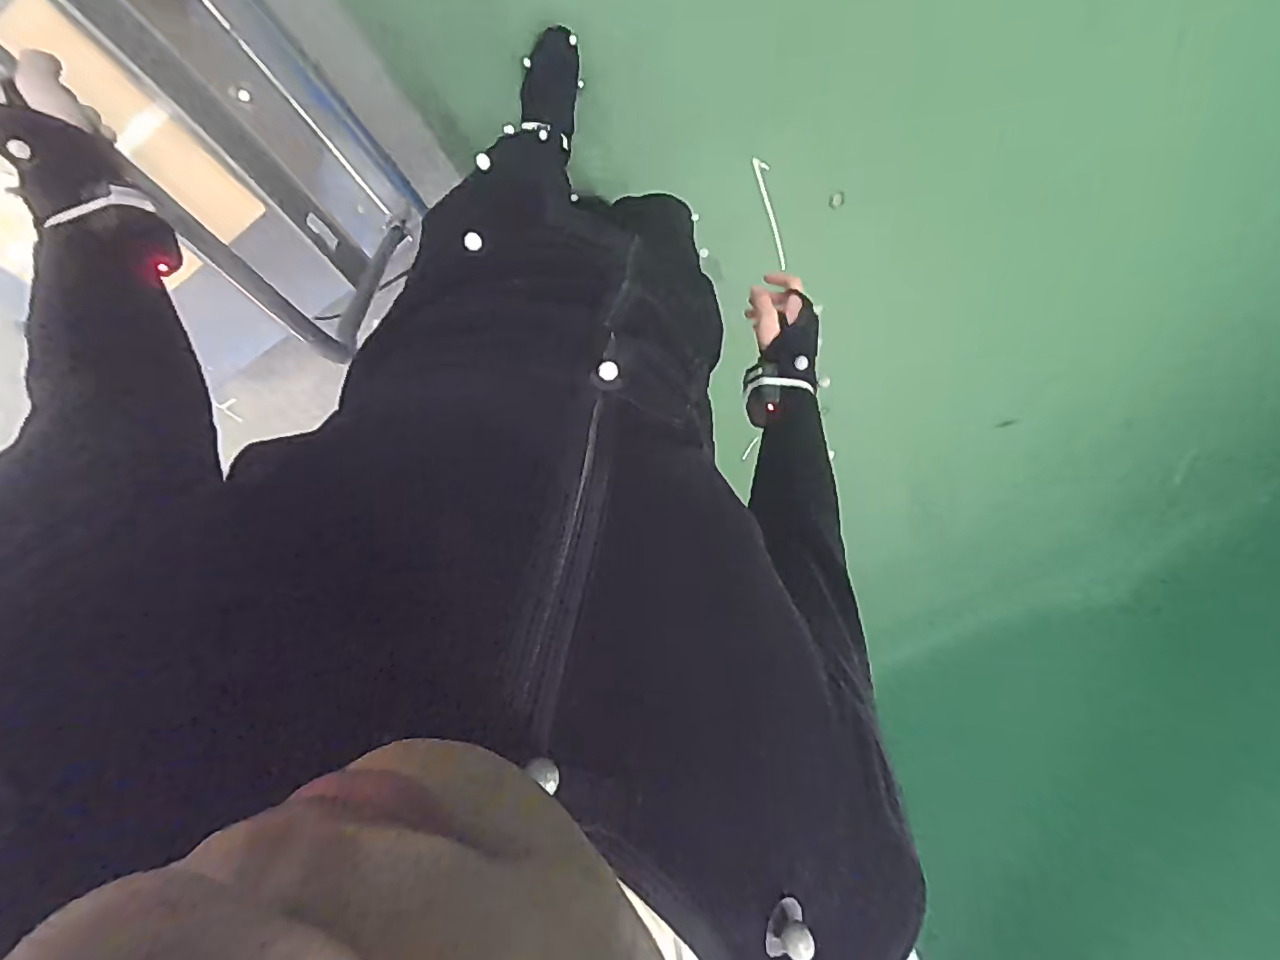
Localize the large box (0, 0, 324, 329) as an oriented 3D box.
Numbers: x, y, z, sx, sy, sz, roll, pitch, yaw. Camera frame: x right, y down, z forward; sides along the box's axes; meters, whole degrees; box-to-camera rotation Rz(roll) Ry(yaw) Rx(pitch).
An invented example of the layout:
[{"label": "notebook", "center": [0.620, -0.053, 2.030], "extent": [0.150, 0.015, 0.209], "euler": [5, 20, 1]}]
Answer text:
[{"label": "large box", "center": [-0.834, -0.545, 0.913], "extent": [0.408, 0.320, 0.320], "euler": [-27, 132, 15]}]
